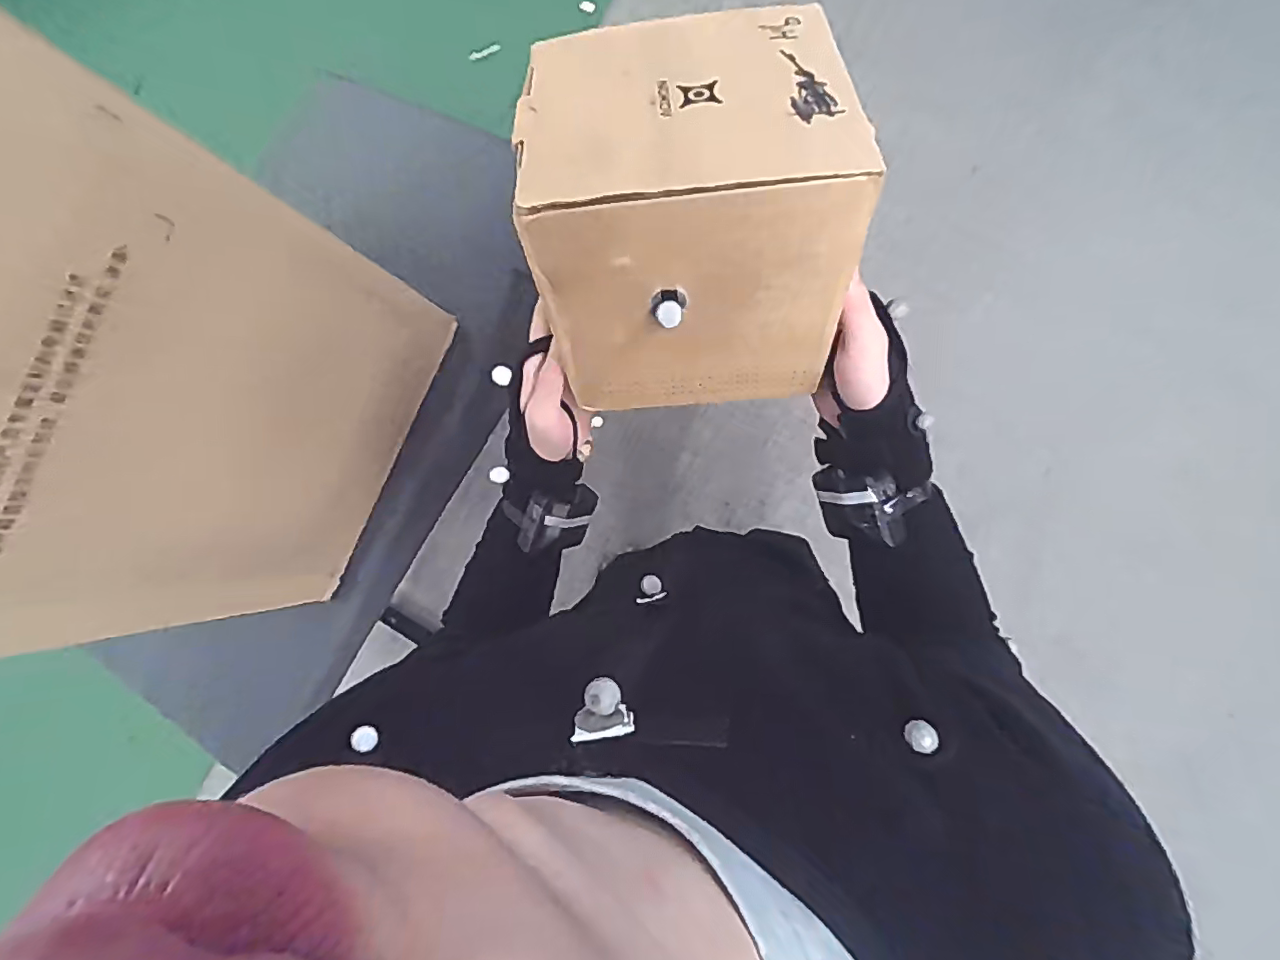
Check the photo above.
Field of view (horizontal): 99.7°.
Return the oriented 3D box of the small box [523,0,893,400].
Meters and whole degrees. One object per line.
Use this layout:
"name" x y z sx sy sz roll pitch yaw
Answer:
"small box" 0.037 -0.167 0.357 0.179 0.176 0.168 -4 63 4
